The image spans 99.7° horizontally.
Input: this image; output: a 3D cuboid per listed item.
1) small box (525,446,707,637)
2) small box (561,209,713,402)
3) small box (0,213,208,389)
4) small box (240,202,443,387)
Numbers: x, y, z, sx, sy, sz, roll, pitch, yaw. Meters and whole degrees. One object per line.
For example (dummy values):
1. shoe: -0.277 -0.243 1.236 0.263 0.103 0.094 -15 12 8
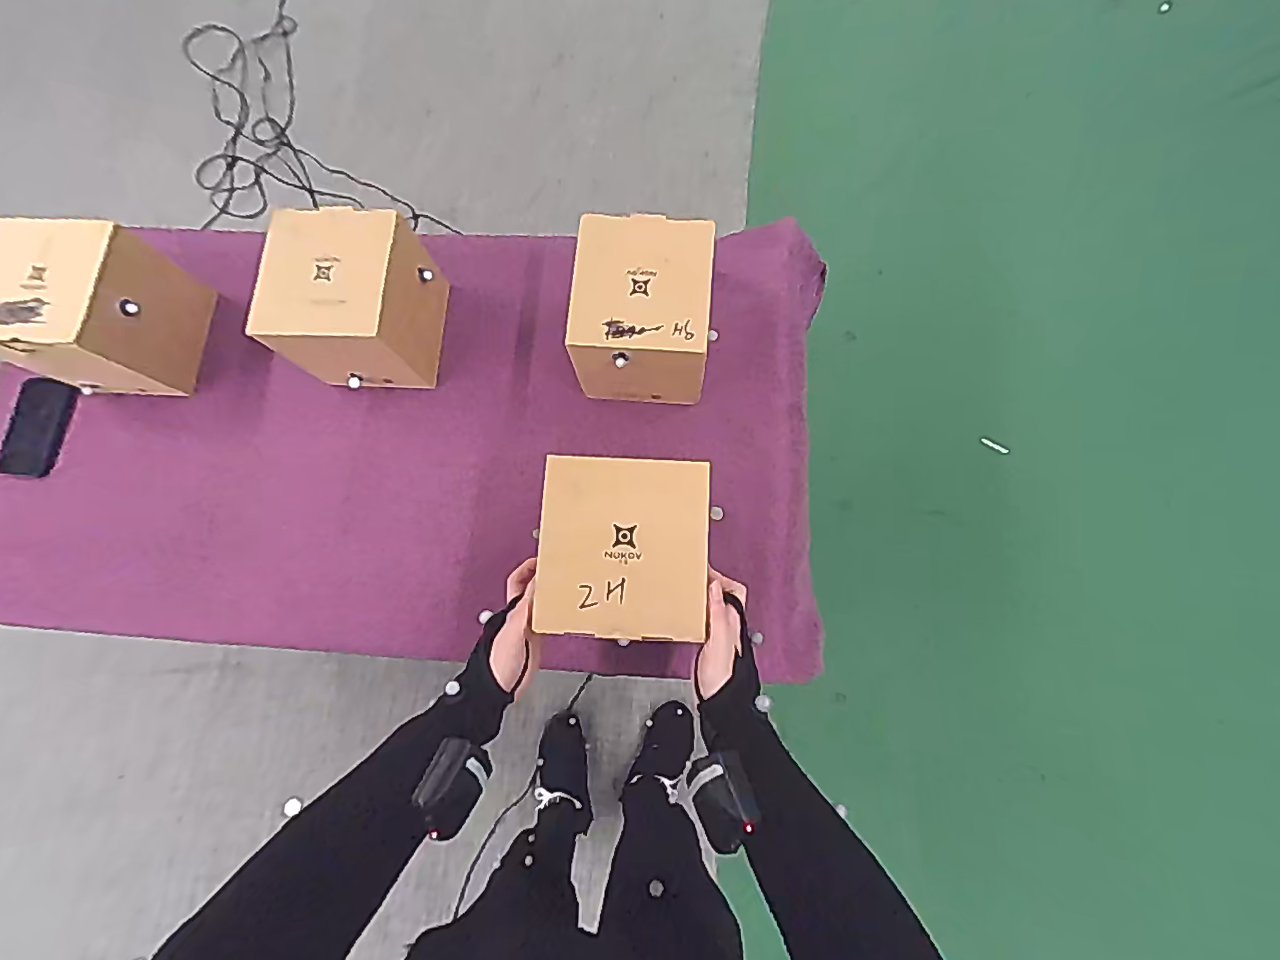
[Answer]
1. small box: -0.019 0.072 0.595 0.168 0.176 0.179 3 78 3
2. small box: 0.002 -0.219 0.707 0.168 0.176 0.179 4 77 5
3. small box: -0.751 -0.236 0.747 0.168 0.176 0.179 3 77 3
4. small box: -0.385 -0.243 0.733 0.168 0.176 0.179 3 78 4
